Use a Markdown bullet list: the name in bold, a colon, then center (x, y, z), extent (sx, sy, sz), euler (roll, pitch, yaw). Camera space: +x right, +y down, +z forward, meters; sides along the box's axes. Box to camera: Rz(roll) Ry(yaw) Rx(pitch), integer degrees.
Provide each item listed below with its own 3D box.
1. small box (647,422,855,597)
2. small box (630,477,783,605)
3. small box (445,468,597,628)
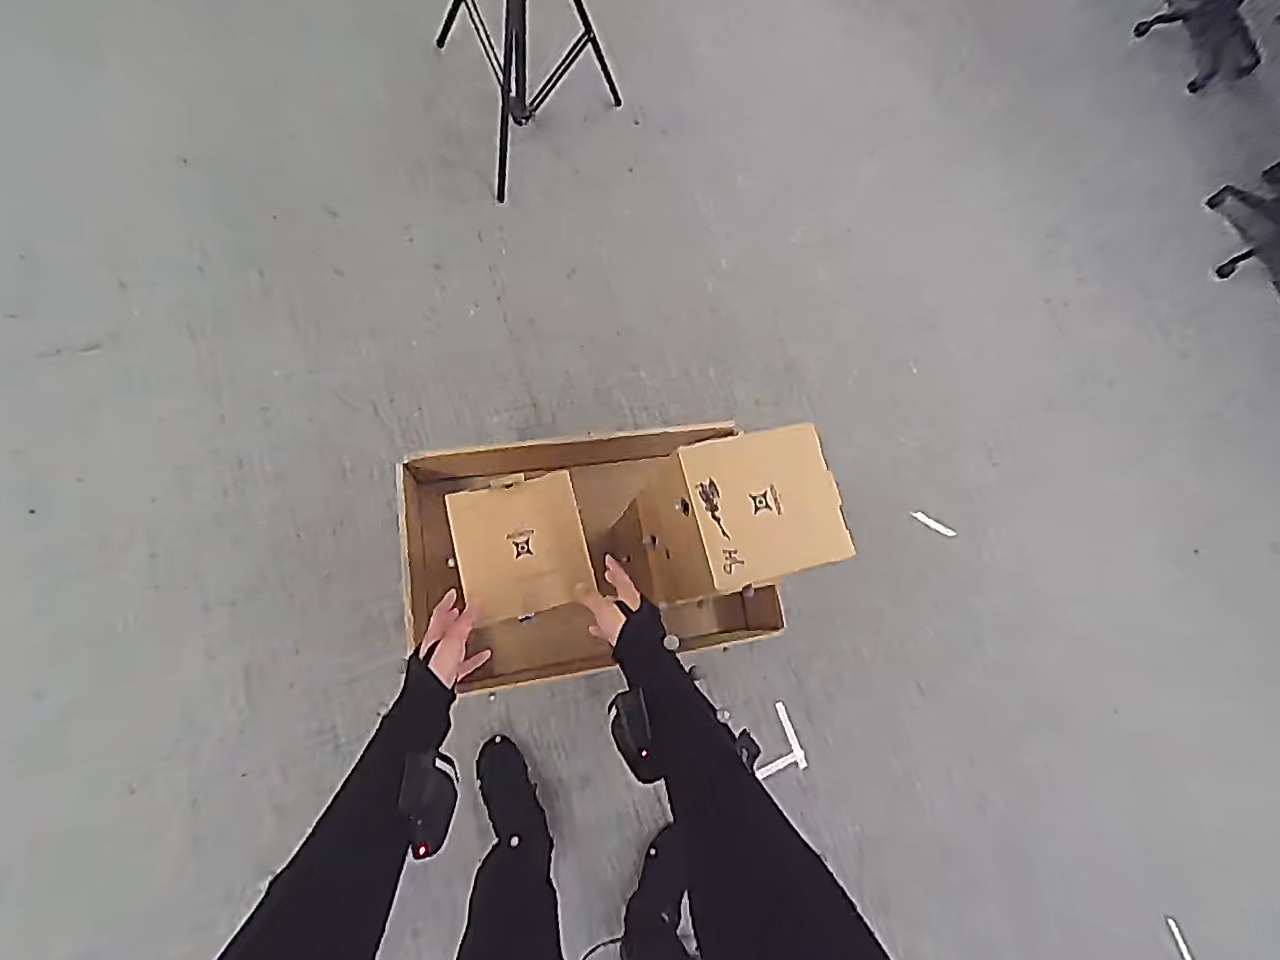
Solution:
- **small box**: center (0.124, 0.043, 0.671), extent (0.179, 0.176, 0.168), euler (-11, 76, -15)
- **small box**: center (0.090, 0.090, 0.825), extent (0.168, 0.176, 0.179), euler (-9, 76, -14)
- **small box**: center (-0.168, 0.102, 0.765), extent (0.168, 0.176, 0.179), euler (-12, 77, -14)
